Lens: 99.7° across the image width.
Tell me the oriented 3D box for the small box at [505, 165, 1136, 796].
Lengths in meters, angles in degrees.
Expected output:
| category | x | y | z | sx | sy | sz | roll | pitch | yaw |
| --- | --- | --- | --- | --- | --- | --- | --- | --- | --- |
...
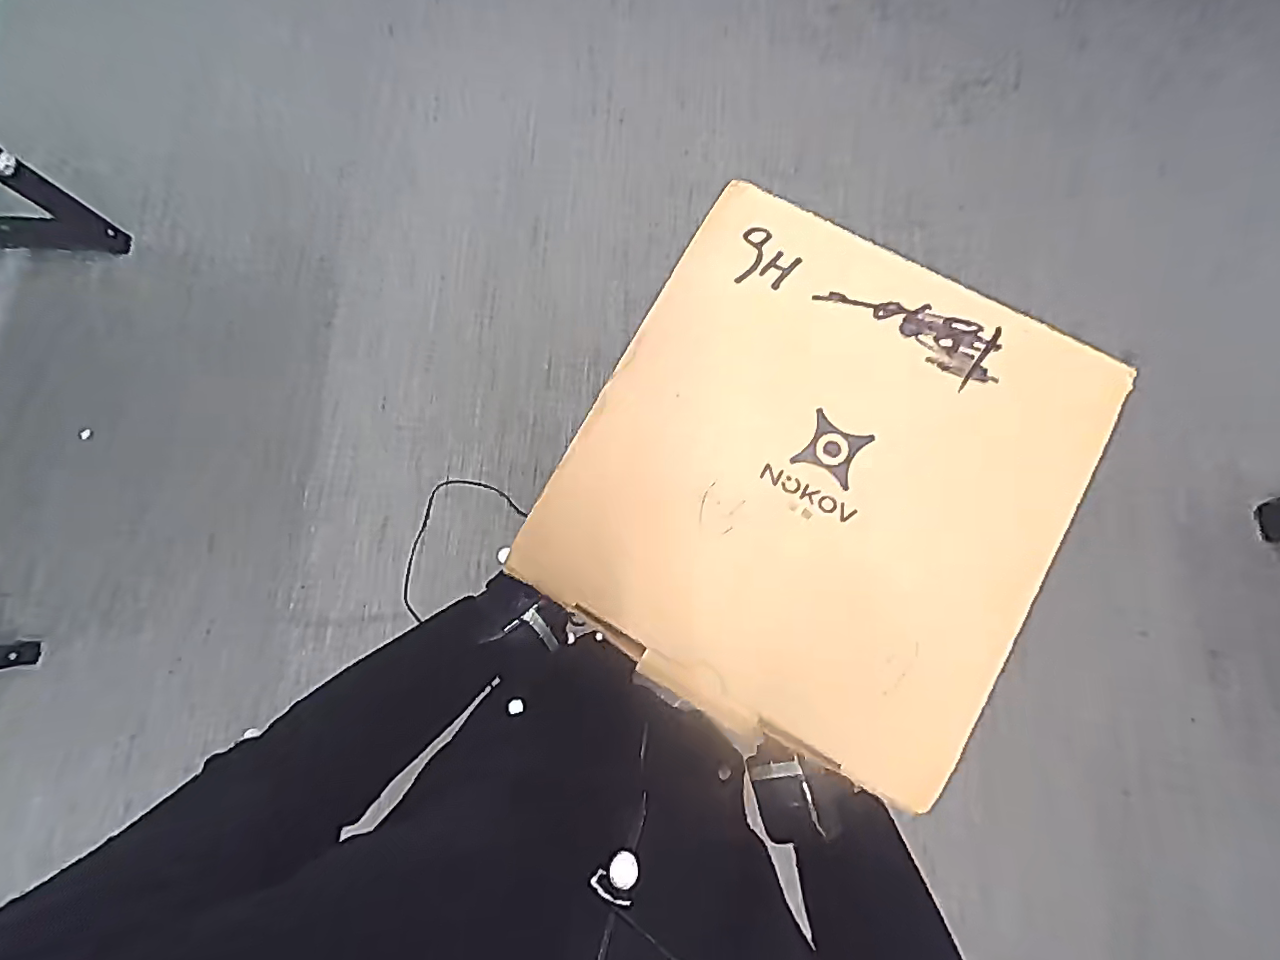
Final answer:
| category | x | y | z | sx | sy | sz | roll | pitch | yaw |
| --- | --- | --- | --- | --- | --- | --- | --- | --- | --- |
| small box | 0.067 | 0.001 | 0.271 | 0.168 | 0.176 | 0.179 | 29 | 85 | 6 |
